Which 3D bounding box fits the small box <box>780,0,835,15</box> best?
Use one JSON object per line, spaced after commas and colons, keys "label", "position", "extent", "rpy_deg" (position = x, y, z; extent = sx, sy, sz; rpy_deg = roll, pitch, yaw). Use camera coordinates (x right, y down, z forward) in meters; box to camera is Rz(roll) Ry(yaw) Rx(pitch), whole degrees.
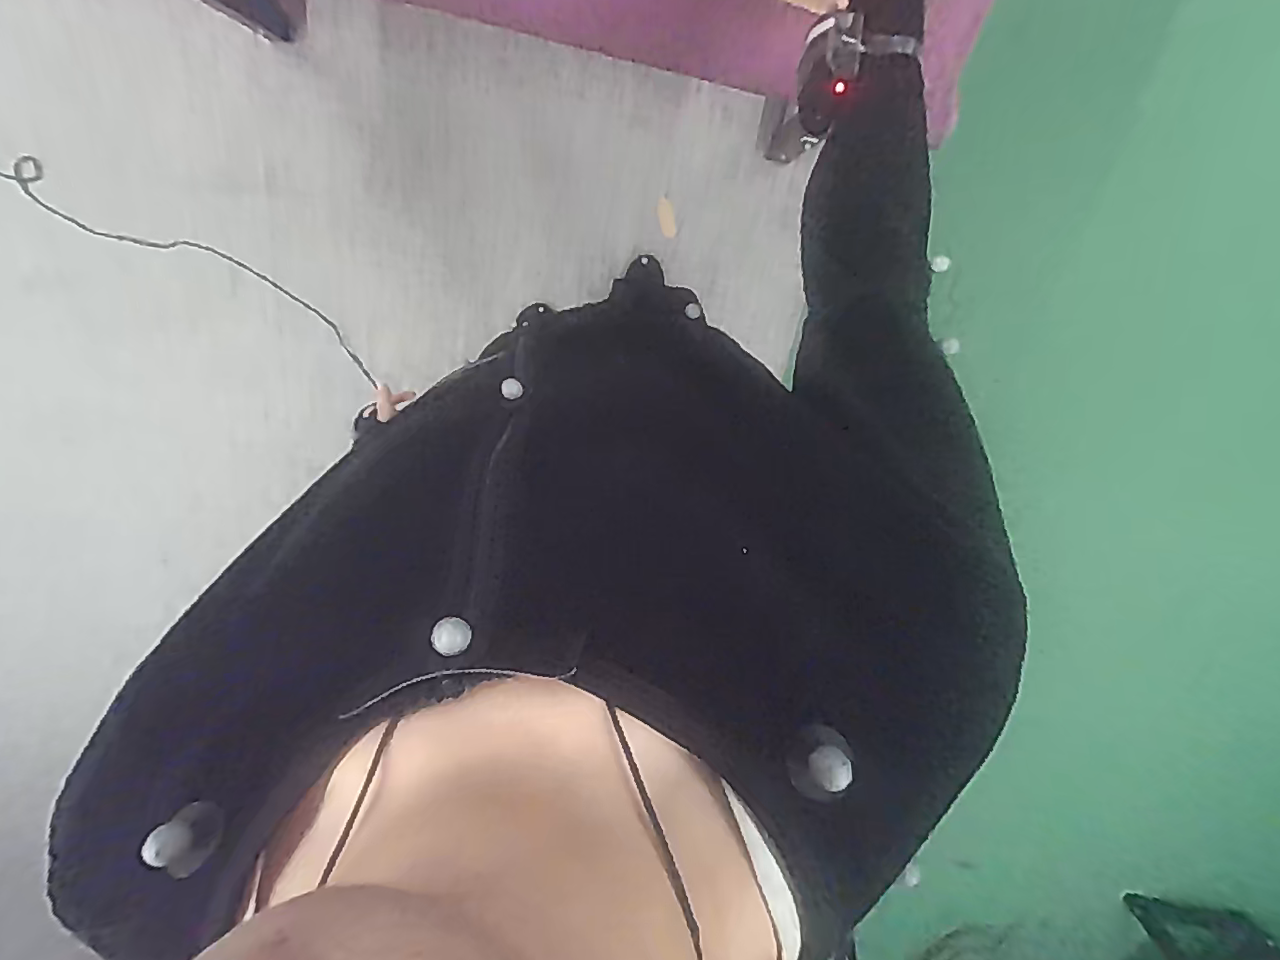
{"label": "small box", "position": [0.143, -0.555, 0.463], "extent": [0.168, 0.176, 0.179], "rpy_deg": [16, 110, -6]}
